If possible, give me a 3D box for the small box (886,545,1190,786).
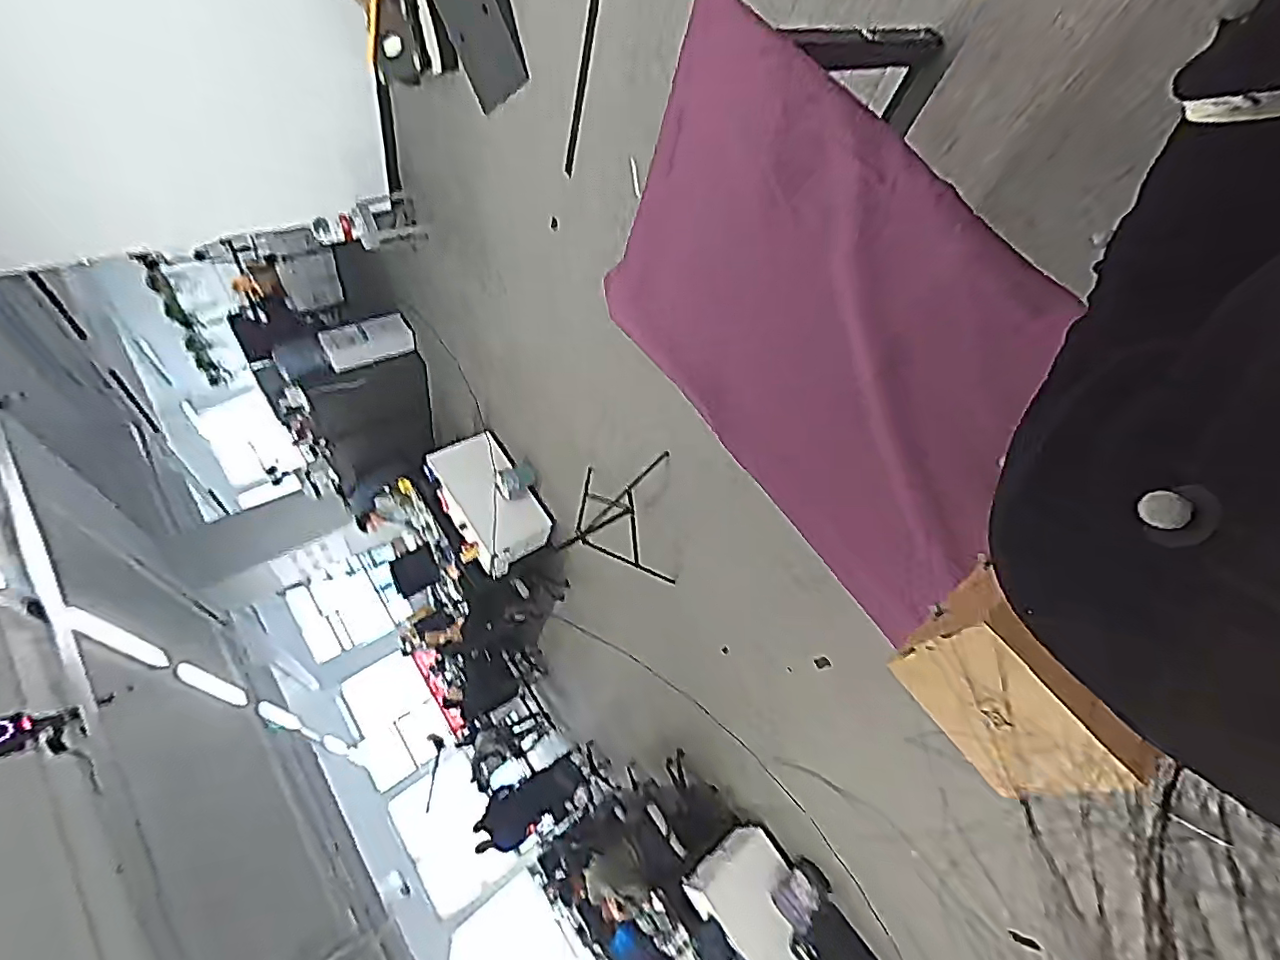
[{"bbox_3d":[0.420,0.193,0.587,0.179,0.176,0.168,49,151,19],"label":"small box"}]
